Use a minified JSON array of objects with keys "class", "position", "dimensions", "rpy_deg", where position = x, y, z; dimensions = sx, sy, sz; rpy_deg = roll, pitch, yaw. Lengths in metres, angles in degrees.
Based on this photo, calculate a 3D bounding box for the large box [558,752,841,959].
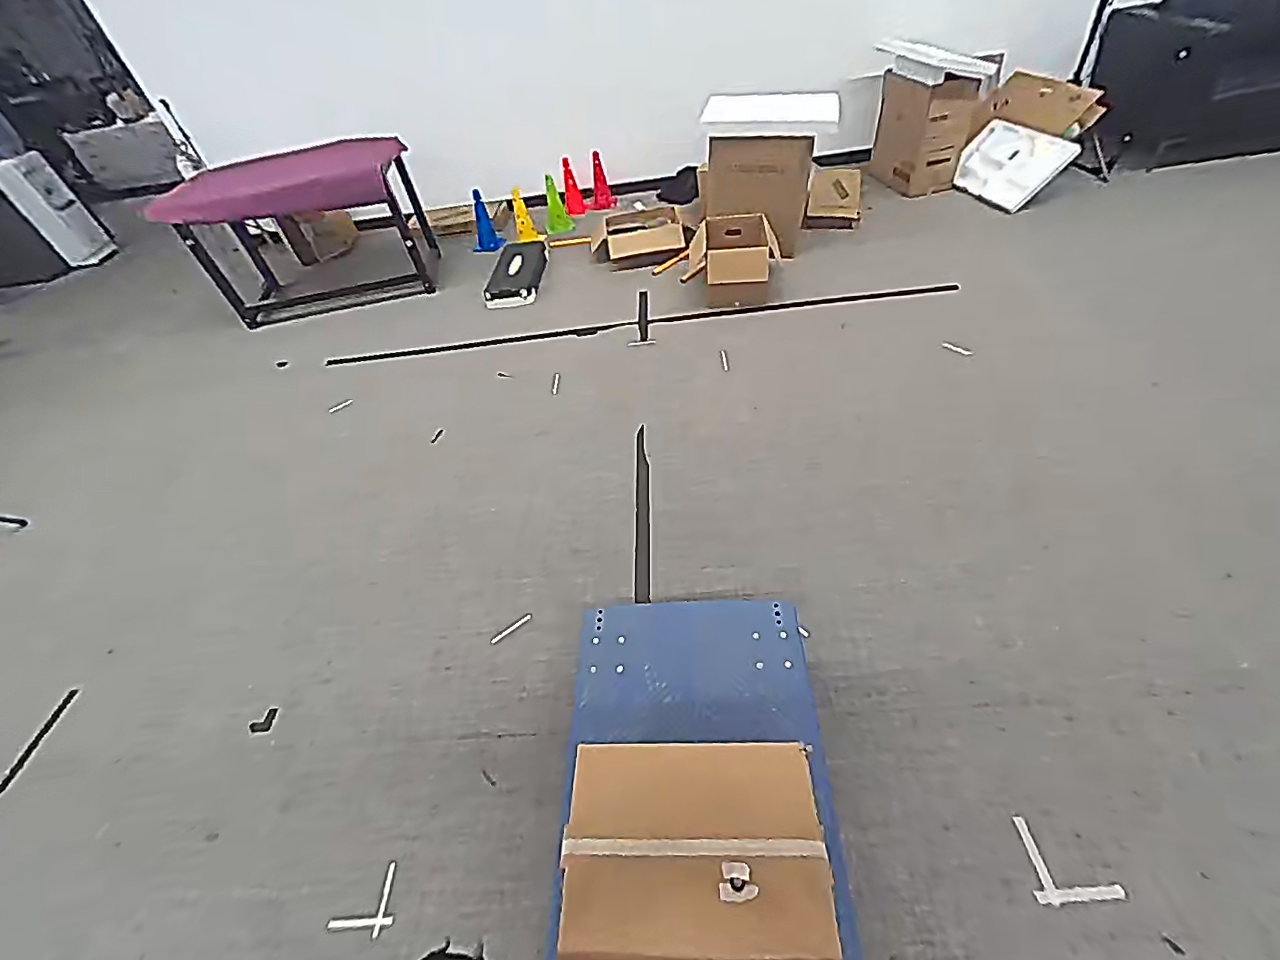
[{"class":"large box","position":[0.094,0.694,0.942],"dimensions":[0.408,0.320,0.320],"rpy_deg":[-3,46,5]}]
